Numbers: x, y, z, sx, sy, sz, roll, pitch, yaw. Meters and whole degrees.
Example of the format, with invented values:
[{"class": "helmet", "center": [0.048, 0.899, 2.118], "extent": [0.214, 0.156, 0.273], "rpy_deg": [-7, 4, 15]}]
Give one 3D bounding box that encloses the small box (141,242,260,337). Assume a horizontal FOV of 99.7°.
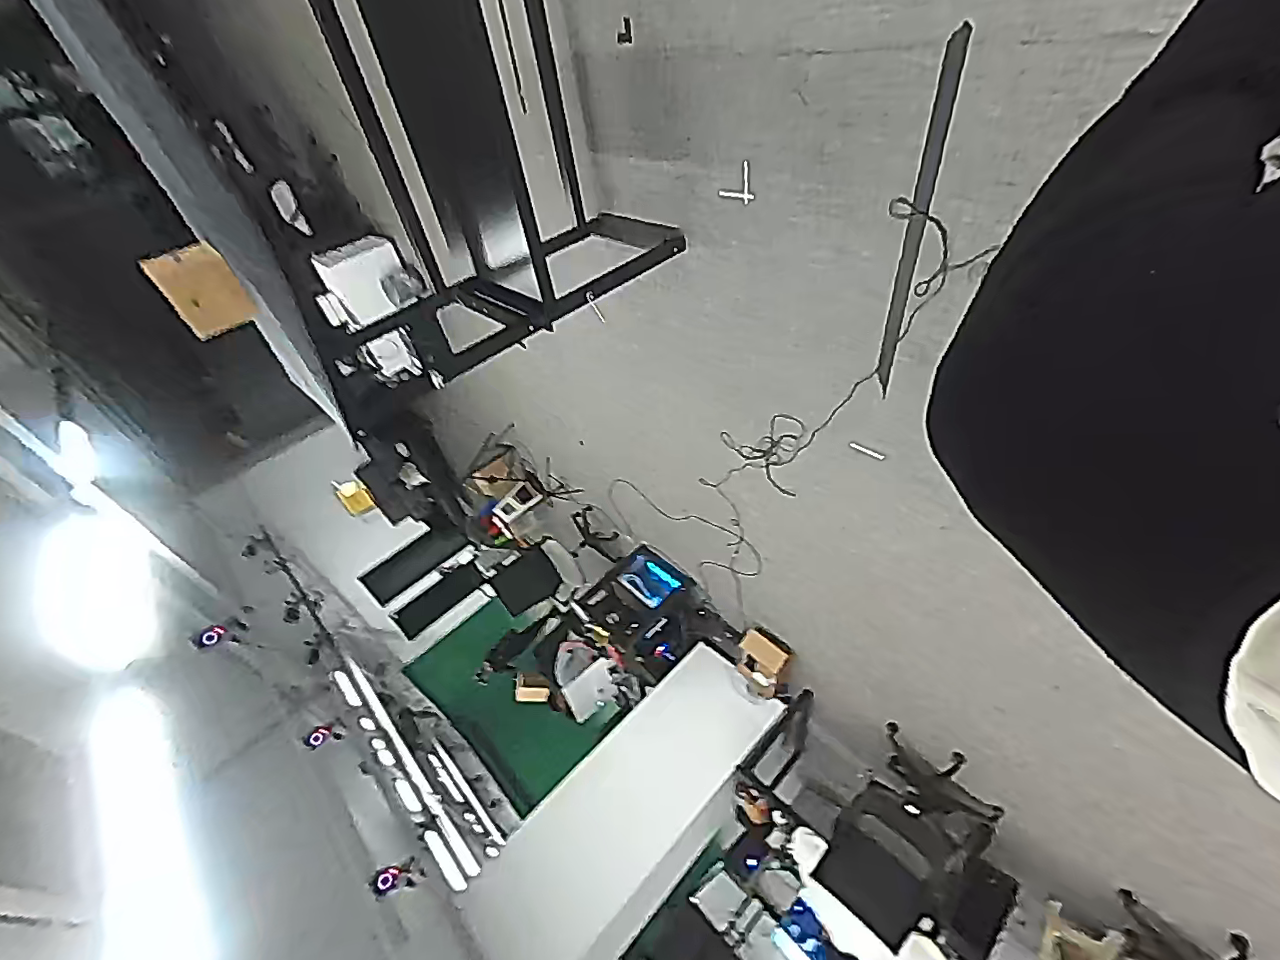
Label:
[{"class": "small box", "center": [-1.194, -0.525, 1.476], "extent": [0.168, 0.176, 0.179], "rpy_deg": [33, 149, 34]}]
